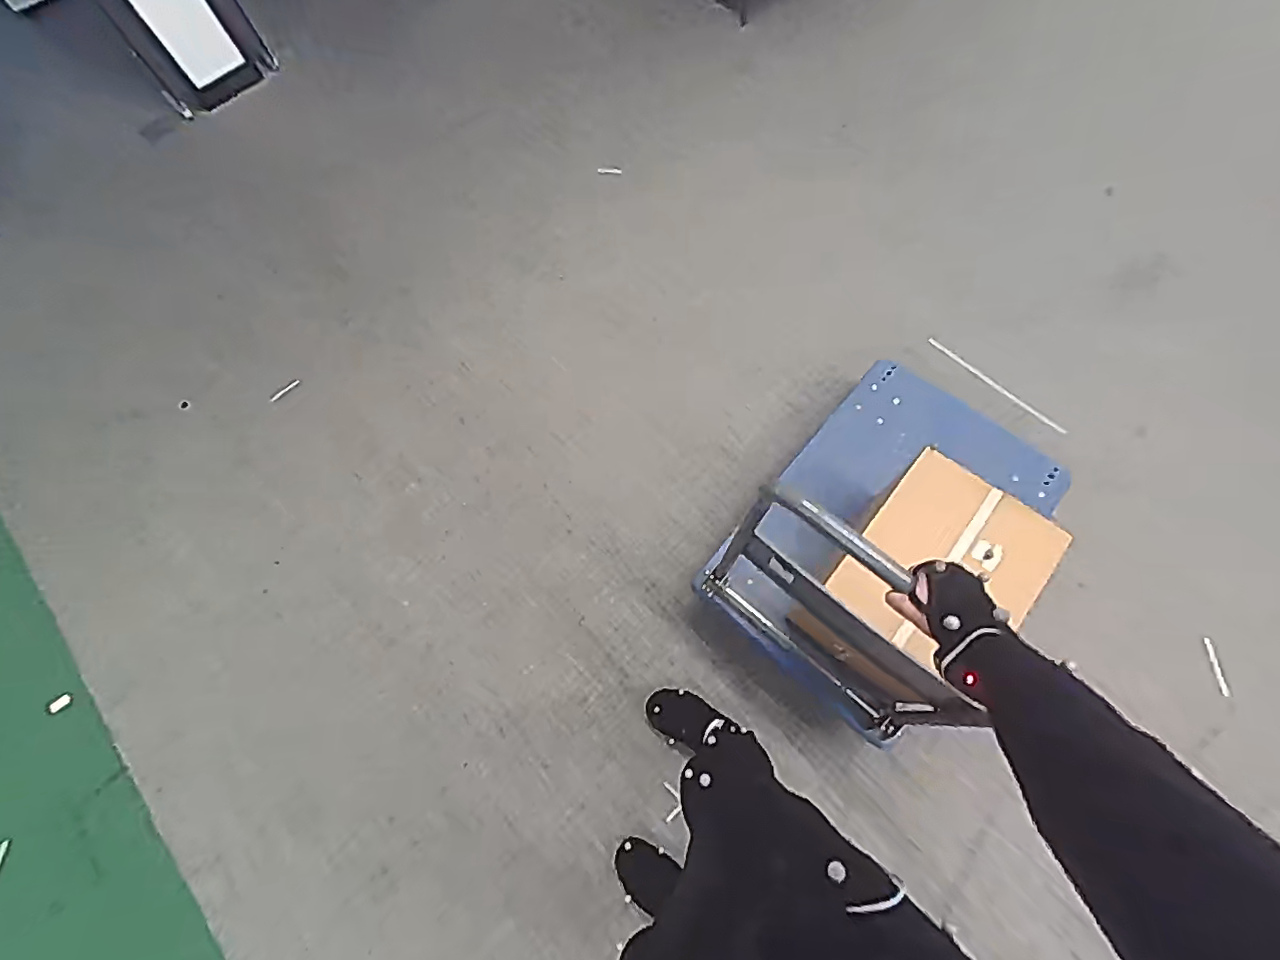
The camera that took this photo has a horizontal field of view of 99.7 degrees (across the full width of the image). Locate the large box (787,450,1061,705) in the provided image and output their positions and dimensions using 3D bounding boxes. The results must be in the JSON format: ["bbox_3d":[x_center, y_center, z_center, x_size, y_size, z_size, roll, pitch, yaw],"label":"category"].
[{"bbox_3d":[0.581,0.223,1.171,0.320,0.320,0.408,38,75,15],"label":"large box"}]
